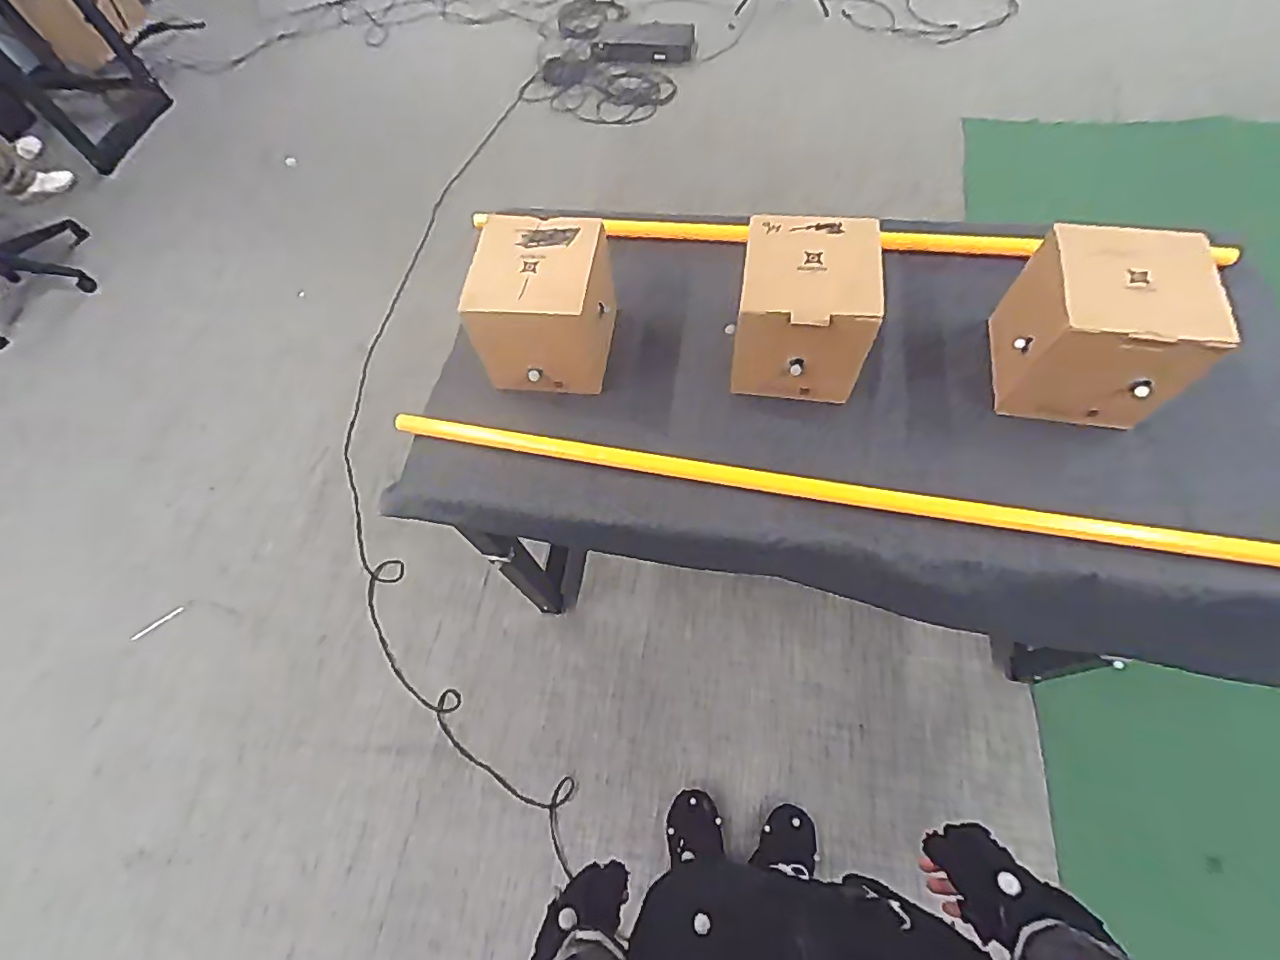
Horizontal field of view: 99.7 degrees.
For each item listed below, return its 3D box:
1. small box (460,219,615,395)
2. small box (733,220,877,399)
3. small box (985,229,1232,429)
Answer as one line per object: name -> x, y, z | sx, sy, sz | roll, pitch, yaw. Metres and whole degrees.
small box -> -0.133, -0.247, 0.785 | 0.168, 0.176, 0.179 | 5, 64, 8
small box -> 0.217, -0.228, 0.747 | 0.168, 0.176, 0.179 | 4, 62, 9
small box -> 0.570, -0.186, 0.690 | 0.168, 0.176, 0.179 | 10, 62, 9
